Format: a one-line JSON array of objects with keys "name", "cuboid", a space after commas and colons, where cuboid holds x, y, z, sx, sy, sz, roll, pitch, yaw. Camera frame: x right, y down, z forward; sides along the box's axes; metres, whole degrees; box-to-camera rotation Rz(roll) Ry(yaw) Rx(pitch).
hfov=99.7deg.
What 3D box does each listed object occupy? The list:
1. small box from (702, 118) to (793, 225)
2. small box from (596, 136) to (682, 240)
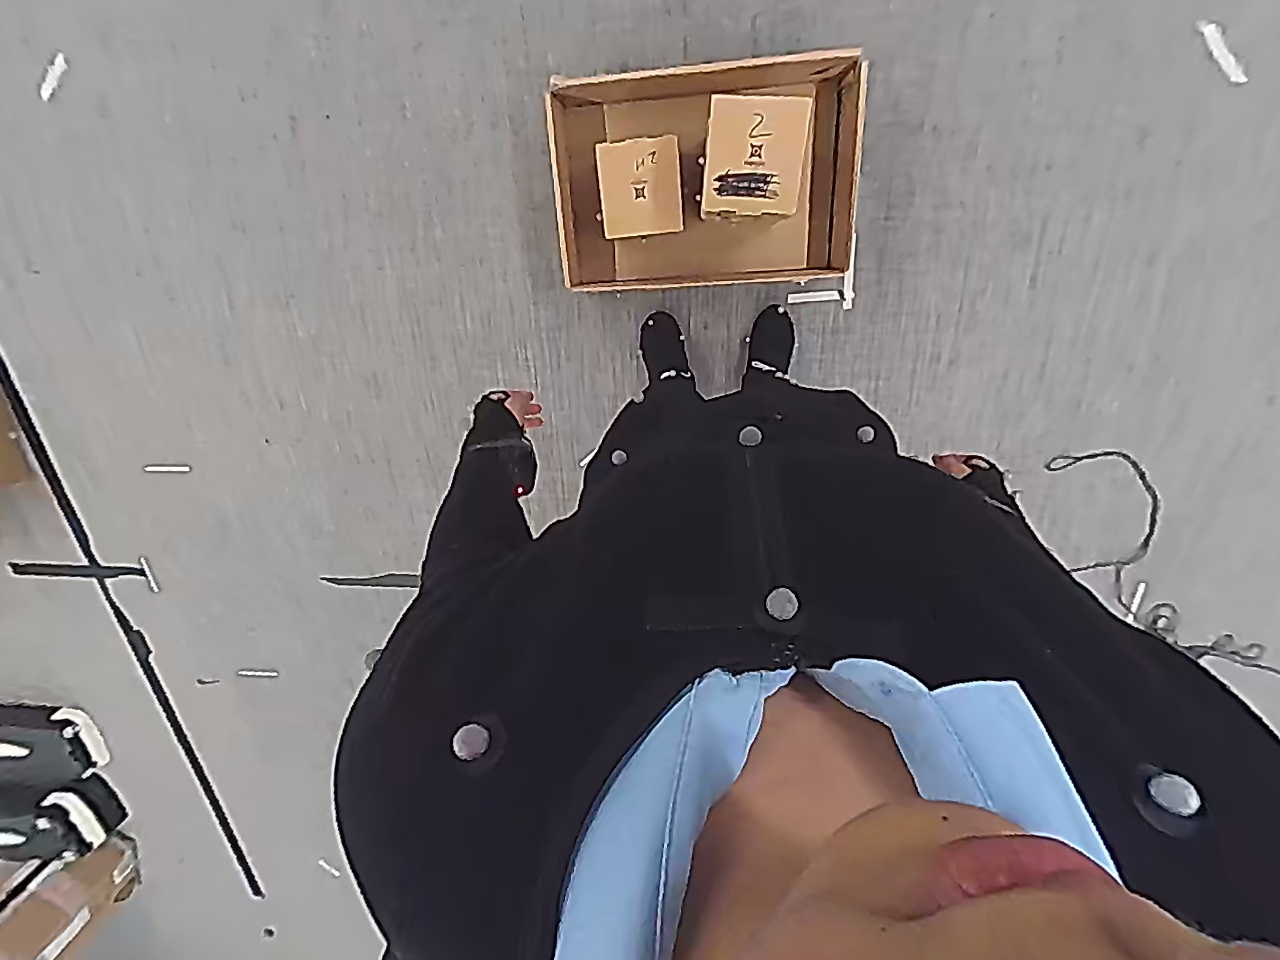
[{"name": "small box", "cuboid": [0.218, -0.641, 1.139, 0.168, 0.176, 0.179, 4, 113, 6]}, {"name": "small box", "cuboid": [0.005, -0.617, 1.164, 0.168, 0.176, 0.179, -4, 112, 5]}]
